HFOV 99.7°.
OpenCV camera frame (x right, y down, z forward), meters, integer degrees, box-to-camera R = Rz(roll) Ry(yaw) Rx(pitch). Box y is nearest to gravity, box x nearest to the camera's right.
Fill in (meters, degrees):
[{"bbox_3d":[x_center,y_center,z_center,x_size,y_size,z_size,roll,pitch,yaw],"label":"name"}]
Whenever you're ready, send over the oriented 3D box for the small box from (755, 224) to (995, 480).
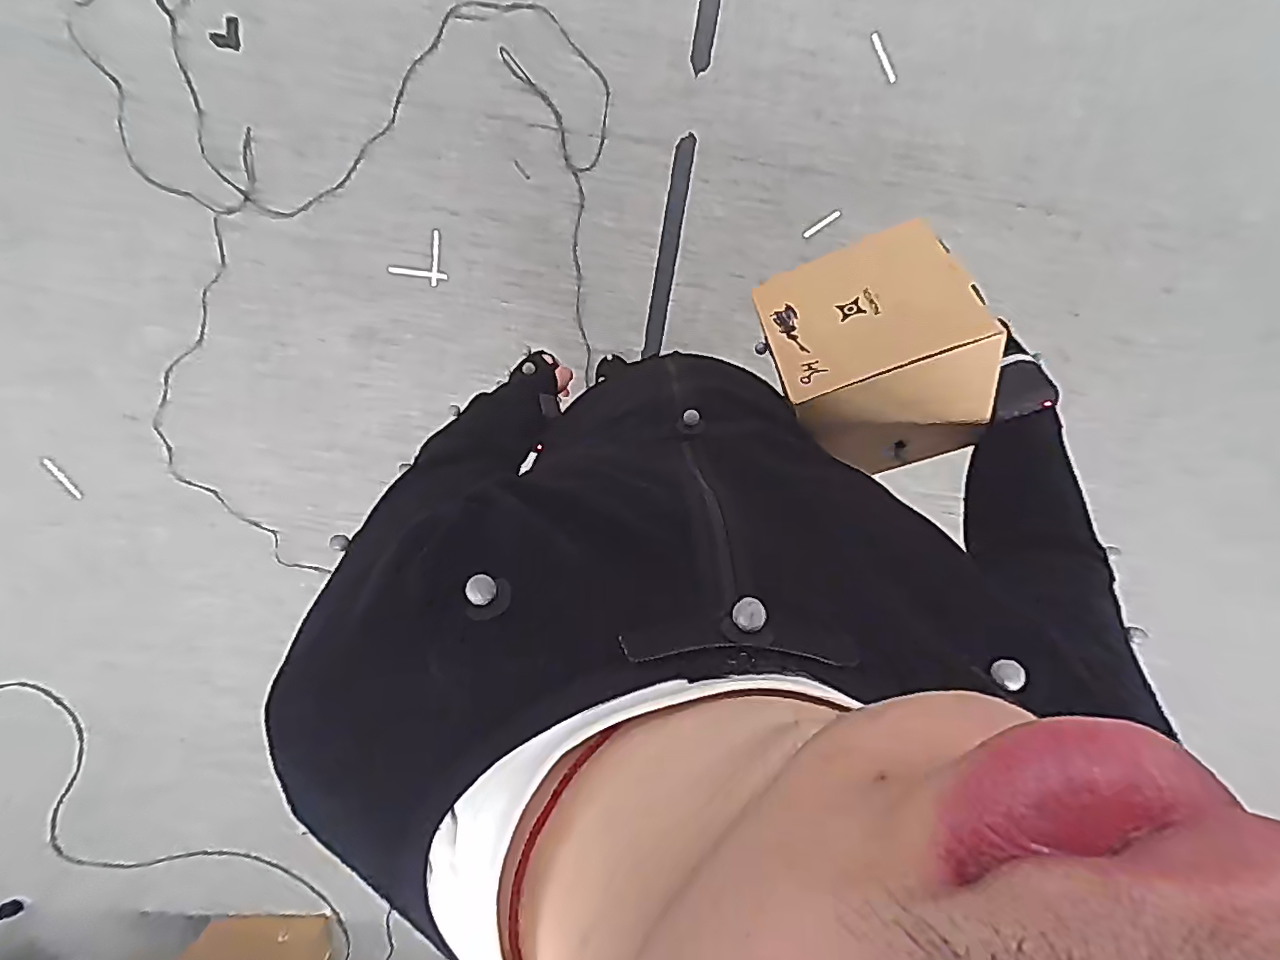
[{"bbox_3d":[0.241,-0.126,0.581,0.179,0.168,0.176,-19,144,16],"label":"small box"}]
